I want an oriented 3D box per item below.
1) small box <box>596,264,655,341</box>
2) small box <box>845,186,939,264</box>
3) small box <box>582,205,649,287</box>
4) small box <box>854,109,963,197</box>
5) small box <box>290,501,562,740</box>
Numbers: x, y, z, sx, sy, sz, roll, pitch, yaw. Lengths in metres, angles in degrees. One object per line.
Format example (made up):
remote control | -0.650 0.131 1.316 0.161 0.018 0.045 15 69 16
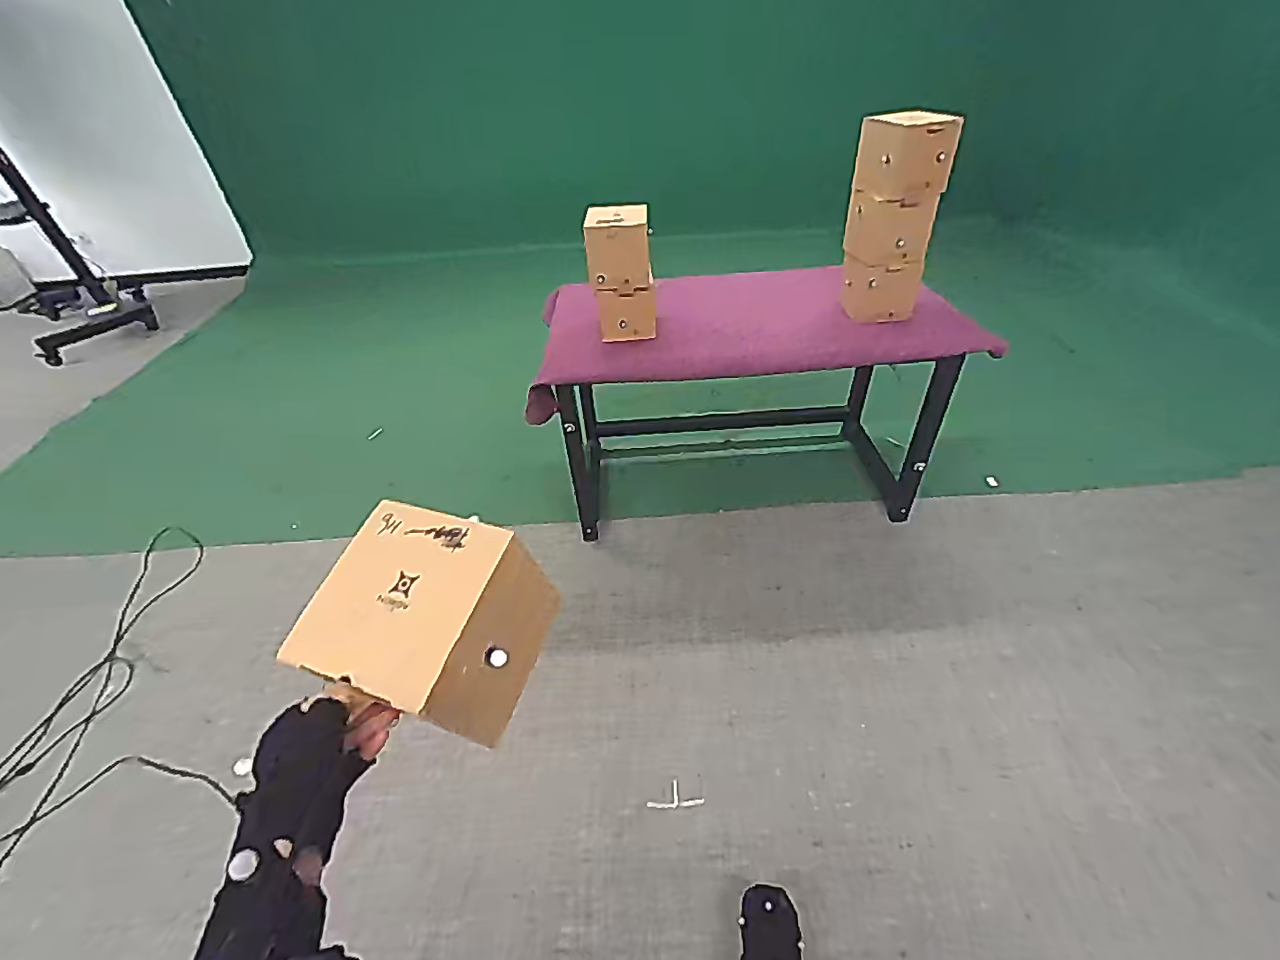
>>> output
small box | -0.043 -0.533 1.619 0.168 0.176 0.179 -5 42 -1
small box | 0.686 -0.714 1.498 0.168 0.176 0.179 -7 41 -1
small box | -0.061 -0.644 1.498 0.168 0.176 0.179 -2 42 2
small box | 0.681 -0.838 1.393 0.168 0.176 0.179 -13 41 -10
small box | -0.202 0.152 0.569 0.168 0.176 0.179 13 60 19
